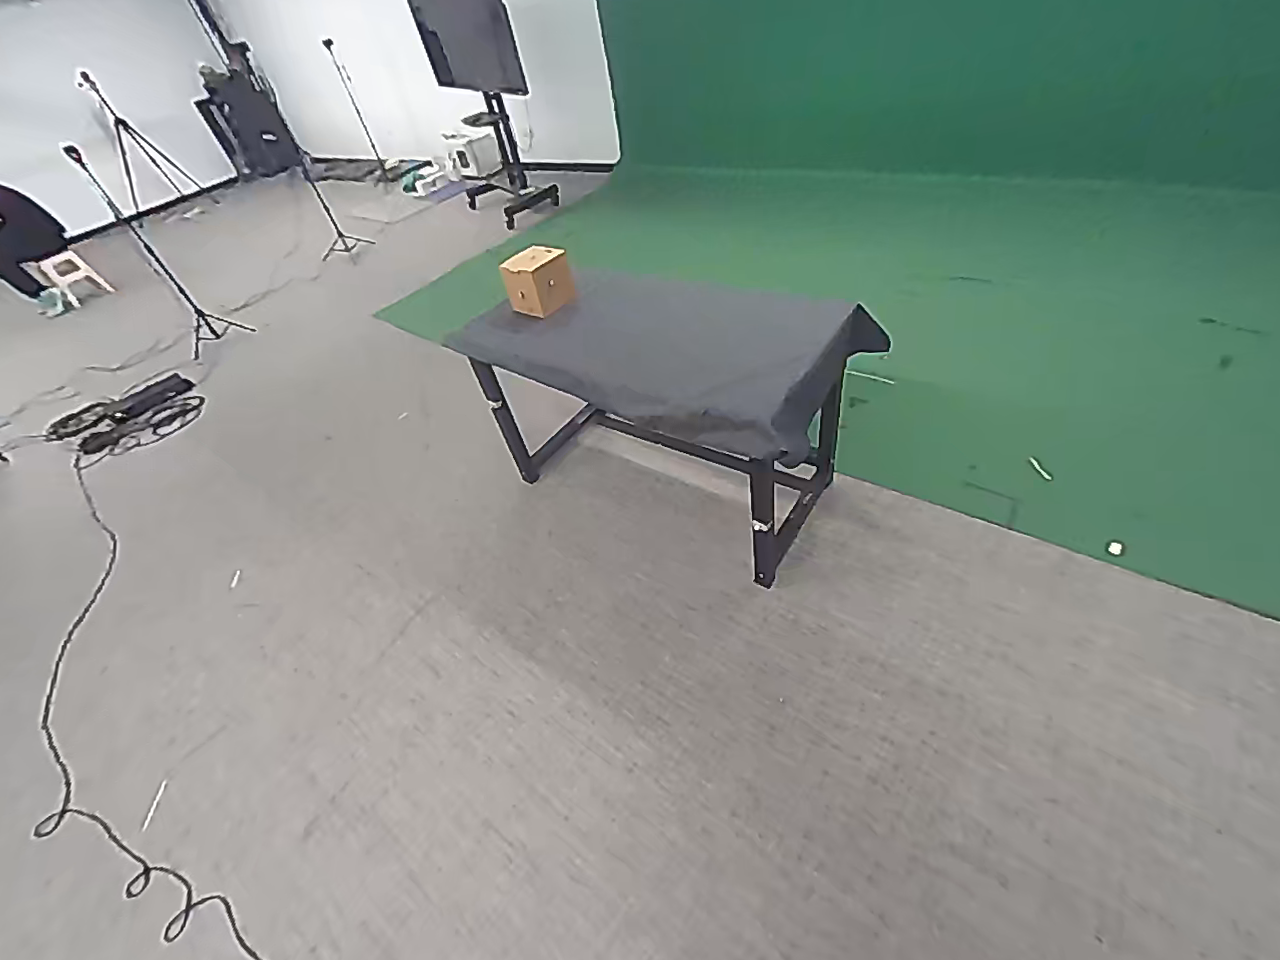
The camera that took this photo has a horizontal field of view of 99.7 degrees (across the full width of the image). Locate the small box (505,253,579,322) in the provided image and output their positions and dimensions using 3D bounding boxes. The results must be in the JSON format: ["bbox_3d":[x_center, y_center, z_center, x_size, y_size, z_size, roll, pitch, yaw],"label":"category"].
[{"bbox_3d":[-0.339,-0.682,1.918,0.168,0.176,0.179,24,55,32],"label":"small box"}]
